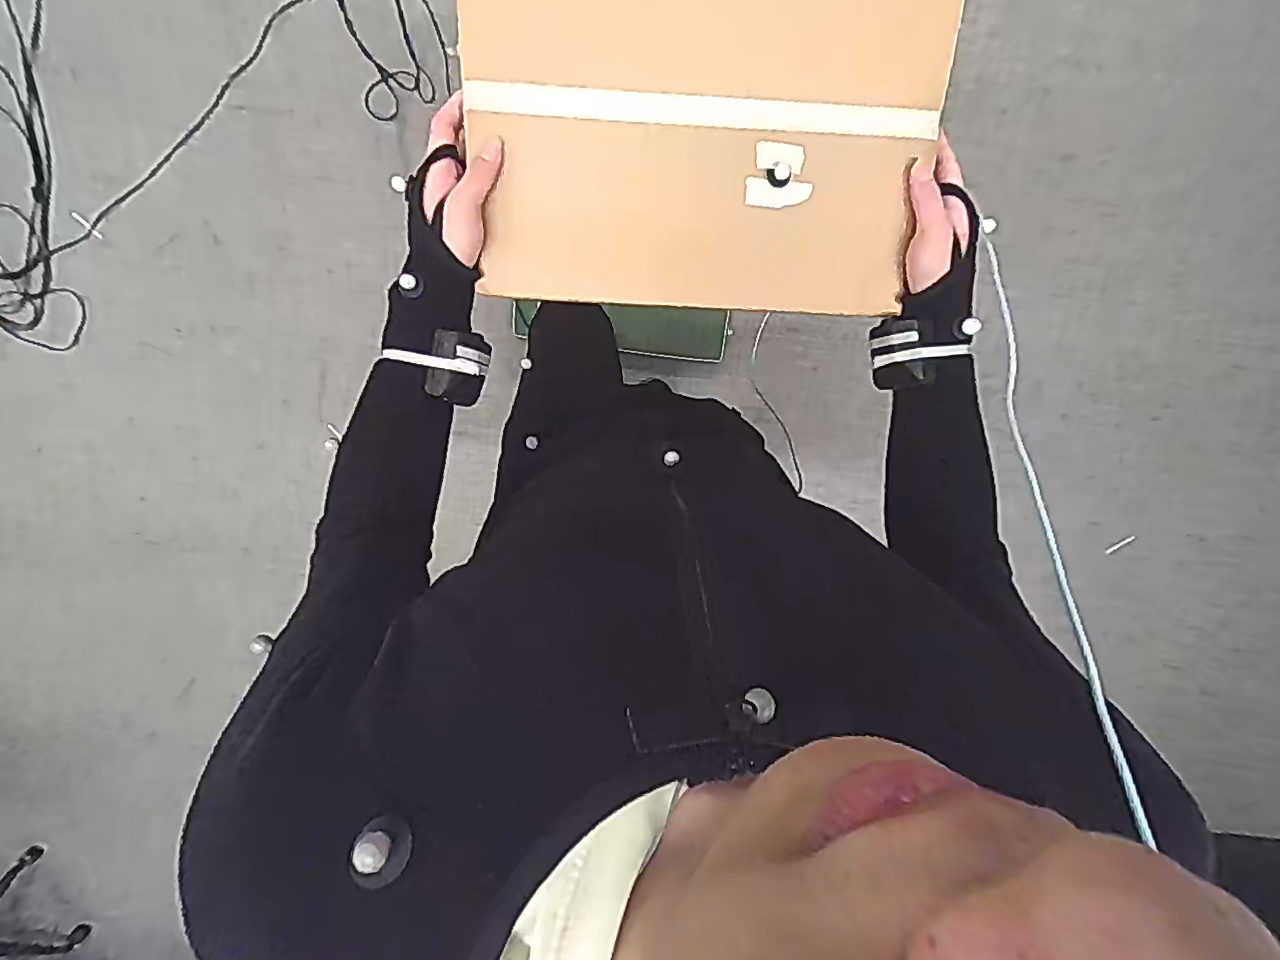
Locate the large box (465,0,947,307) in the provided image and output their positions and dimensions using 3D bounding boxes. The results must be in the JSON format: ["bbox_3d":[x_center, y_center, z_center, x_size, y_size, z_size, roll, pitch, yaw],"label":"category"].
[{"bbox_3d":[0.046,-0.365,0.610,0.408,0.320,0.320,2,109,-4],"label":"large box"}]
